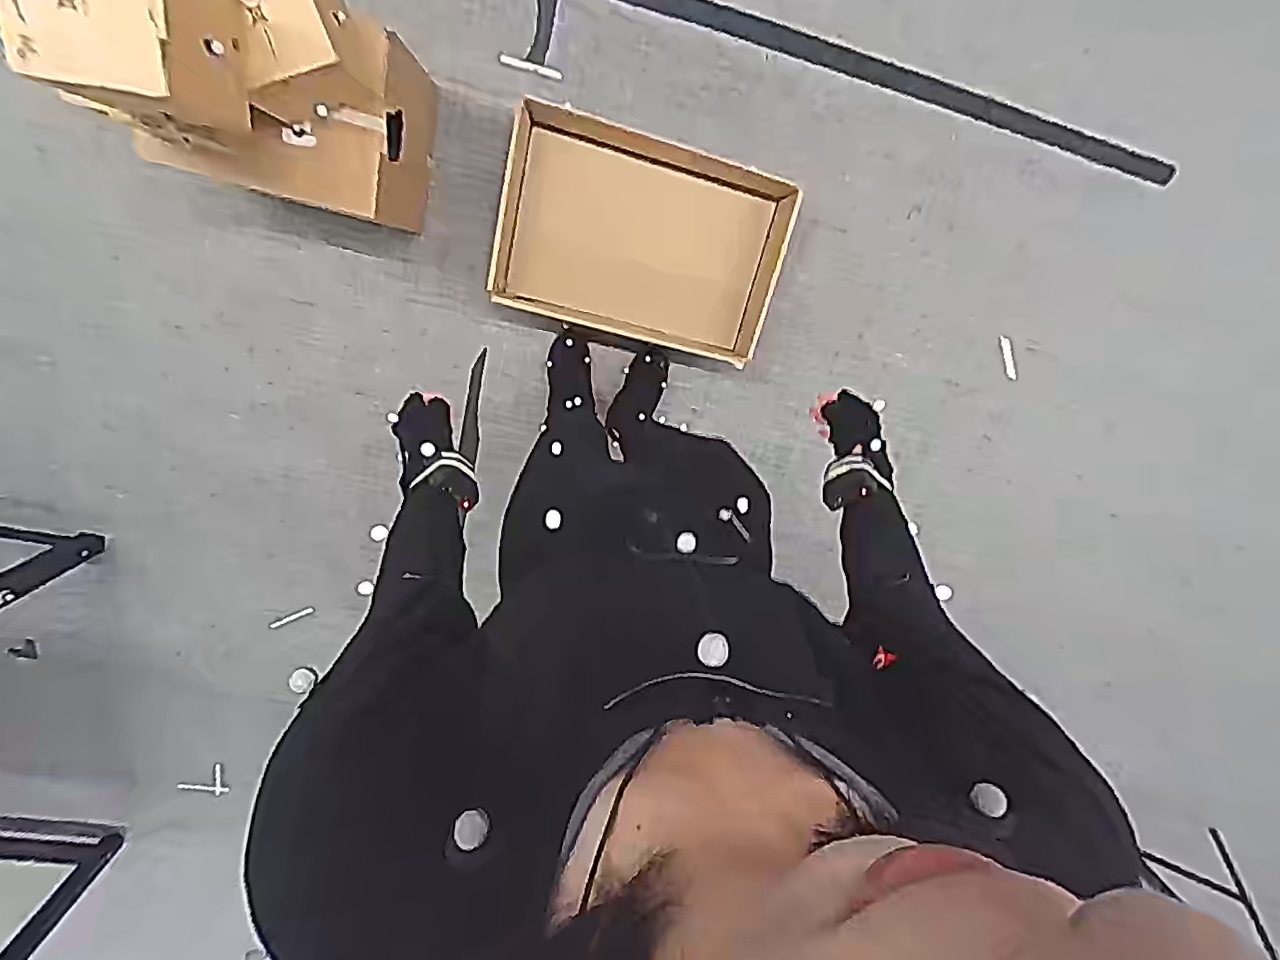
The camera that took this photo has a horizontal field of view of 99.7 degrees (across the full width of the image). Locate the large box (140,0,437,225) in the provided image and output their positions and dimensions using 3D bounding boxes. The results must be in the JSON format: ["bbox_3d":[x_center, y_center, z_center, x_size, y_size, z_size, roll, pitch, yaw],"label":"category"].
[{"bbox_3d":[-0.654,-0.722,1.061,0.408,0.320,0.320,10,110,-9],"label":"large box"}]

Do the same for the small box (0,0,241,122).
[{"bbox_3d":[-0.641,-0.575,0.681,0.179,0.176,0.168,6,110,-7],"label":"small box"}]

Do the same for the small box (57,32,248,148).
[{"bbox_3d":[-0.734,-0.637,0.826,0.168,0.176,0.179,10,108,-10],"label":"small box"}]
